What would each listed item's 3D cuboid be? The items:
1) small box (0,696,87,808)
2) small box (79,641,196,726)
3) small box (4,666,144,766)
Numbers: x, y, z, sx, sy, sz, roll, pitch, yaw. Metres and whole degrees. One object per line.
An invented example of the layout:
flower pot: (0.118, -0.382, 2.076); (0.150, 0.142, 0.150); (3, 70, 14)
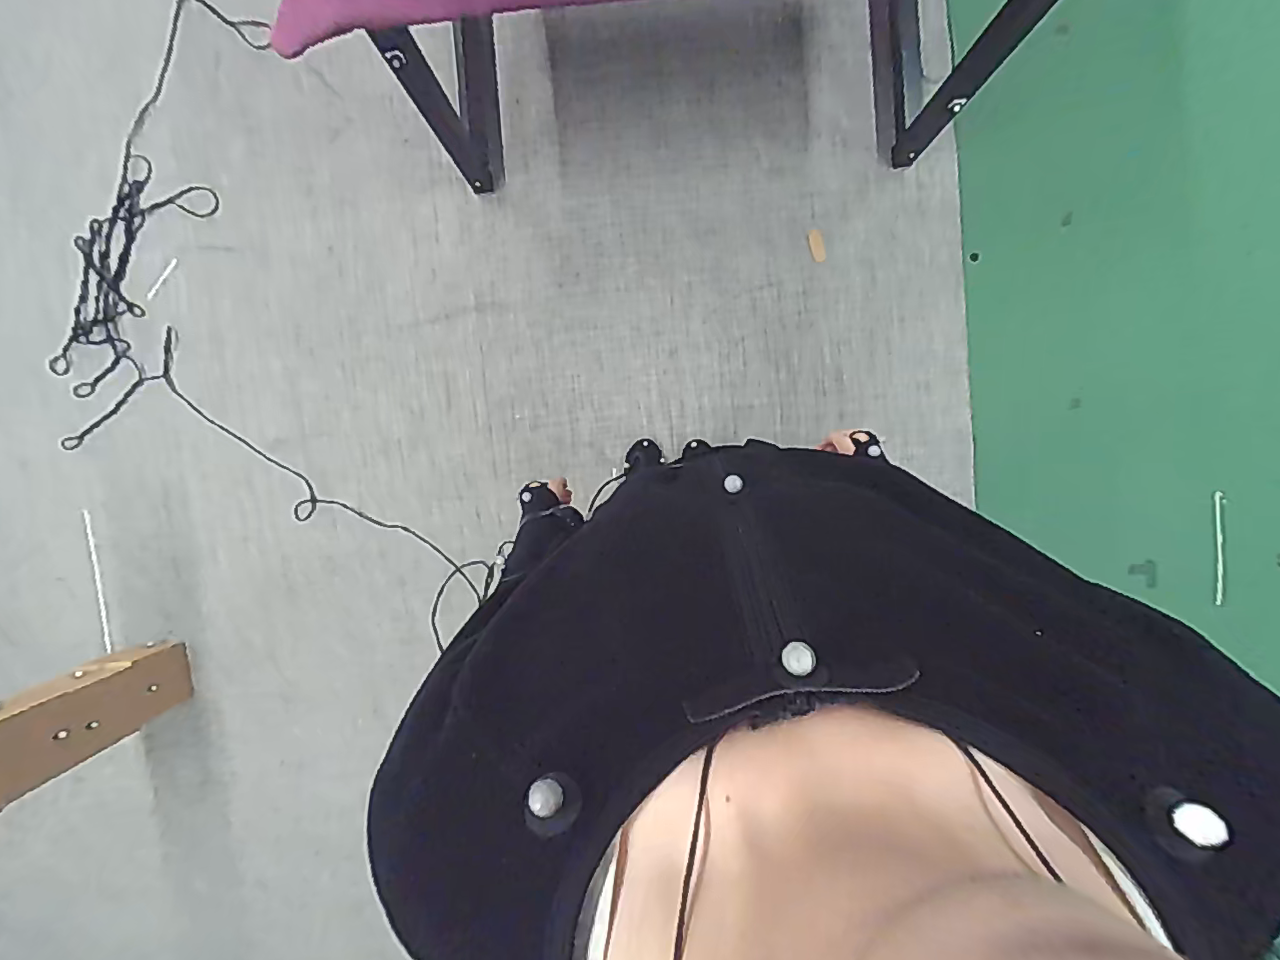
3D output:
small box: (-1.371, 0.586, 1.171); (0.168, 0.176, 0.179); (-8, 92, 2)
small box: (-1.378, 0.564, 1.497); (0.168, 0.176, 0.179); (-6, 92, 2)
small box: (-1.382, 0.583, 1.334); (0.168, 0.176, 0.179); (-6, 93, 1)
